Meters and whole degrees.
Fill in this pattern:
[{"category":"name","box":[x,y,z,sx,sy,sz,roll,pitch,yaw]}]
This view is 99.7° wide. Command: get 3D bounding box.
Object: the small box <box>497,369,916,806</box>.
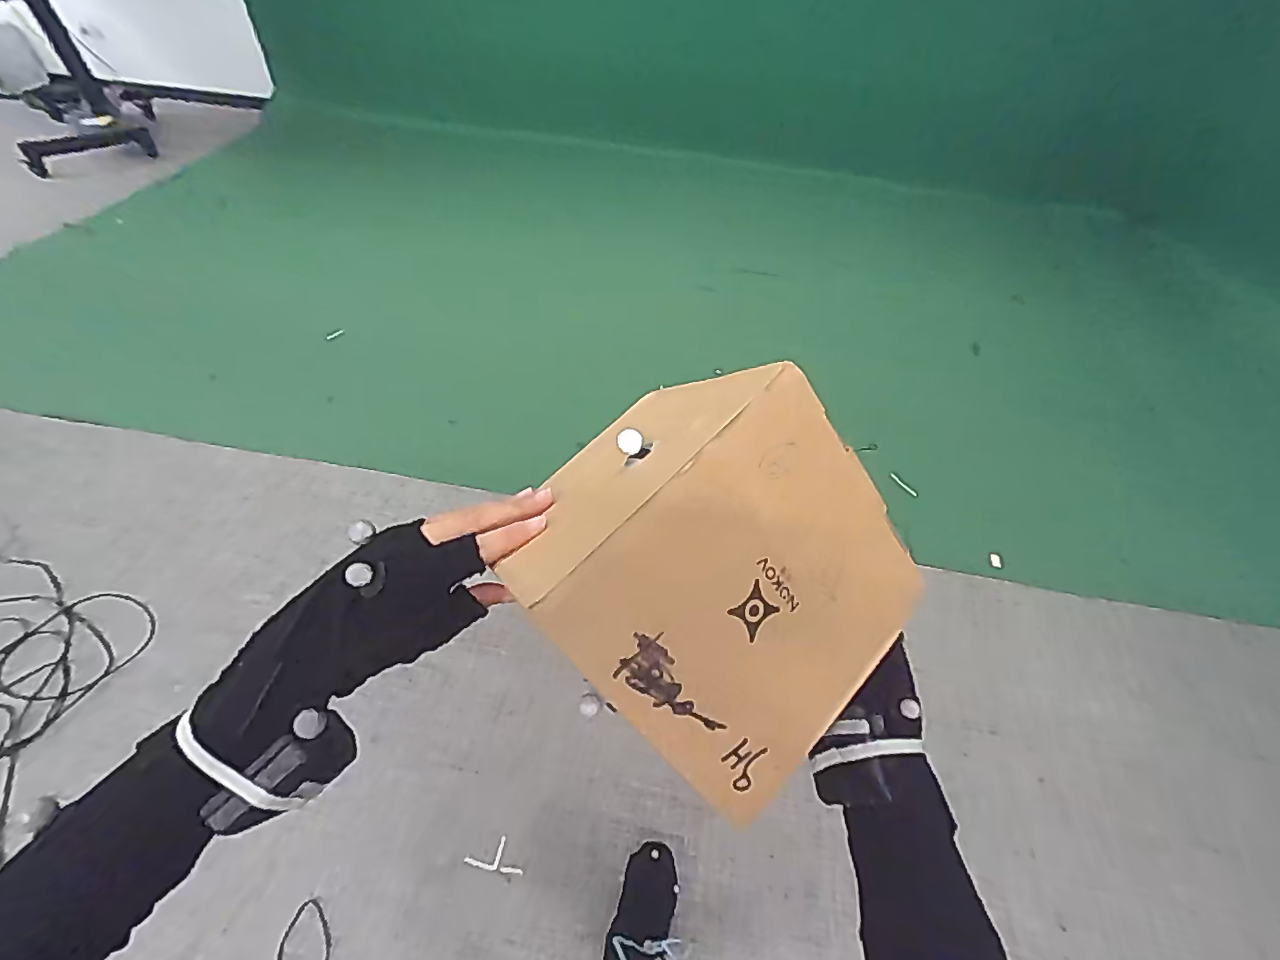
[{"category":"small box","box":[0.031,0.051,0.355,0.179,0.176,0.168,-43,109,-16]}]
